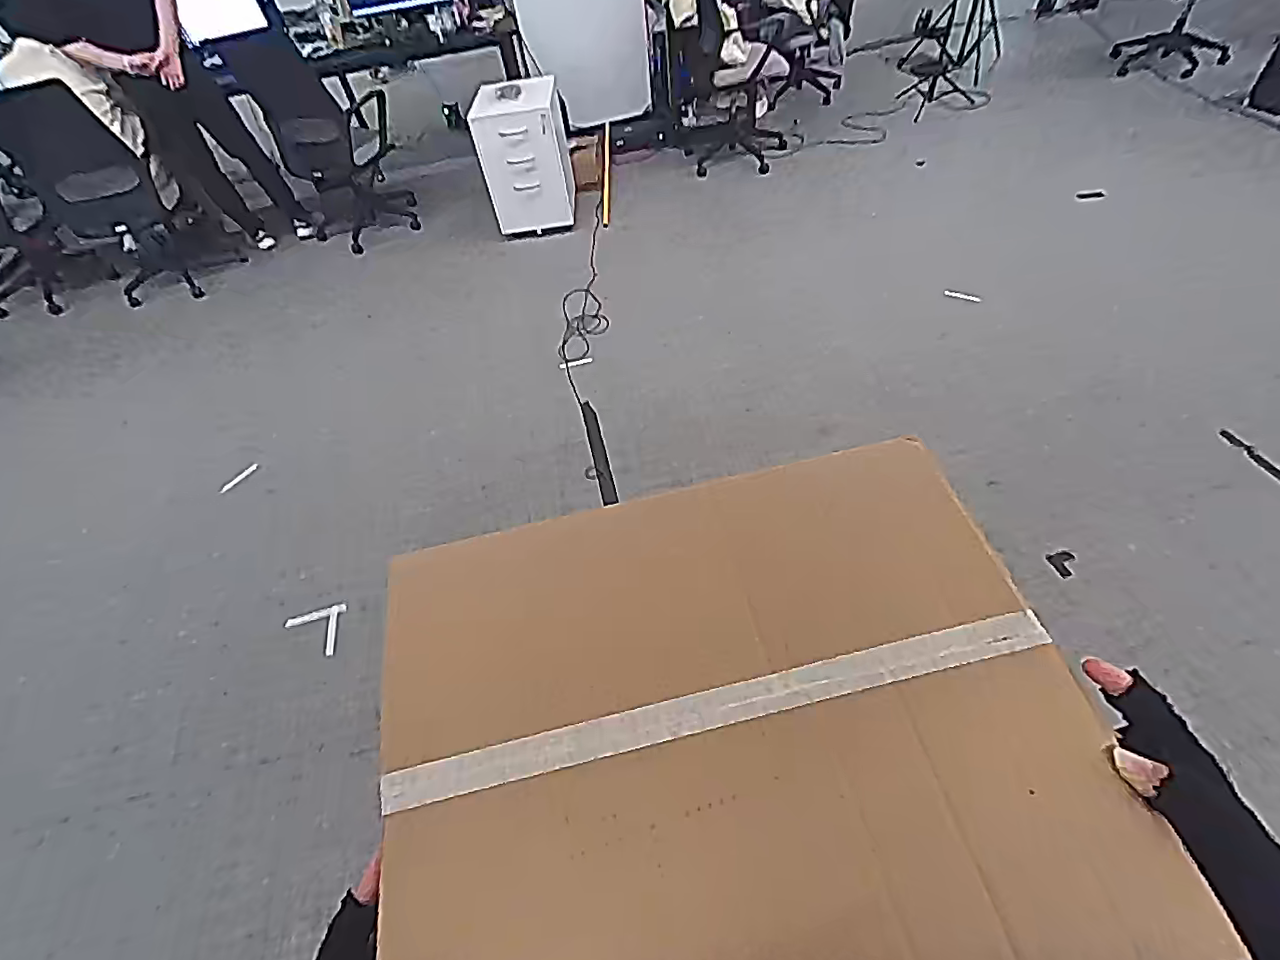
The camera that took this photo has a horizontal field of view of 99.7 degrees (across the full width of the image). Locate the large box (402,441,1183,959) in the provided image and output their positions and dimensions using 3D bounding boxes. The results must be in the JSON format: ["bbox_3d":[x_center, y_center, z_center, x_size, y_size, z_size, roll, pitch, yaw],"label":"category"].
[{"bbox_3d":[0.061,0.220,0.464,0.408,0.320,0.320,-14,58,-2],"label":"large box"}]
